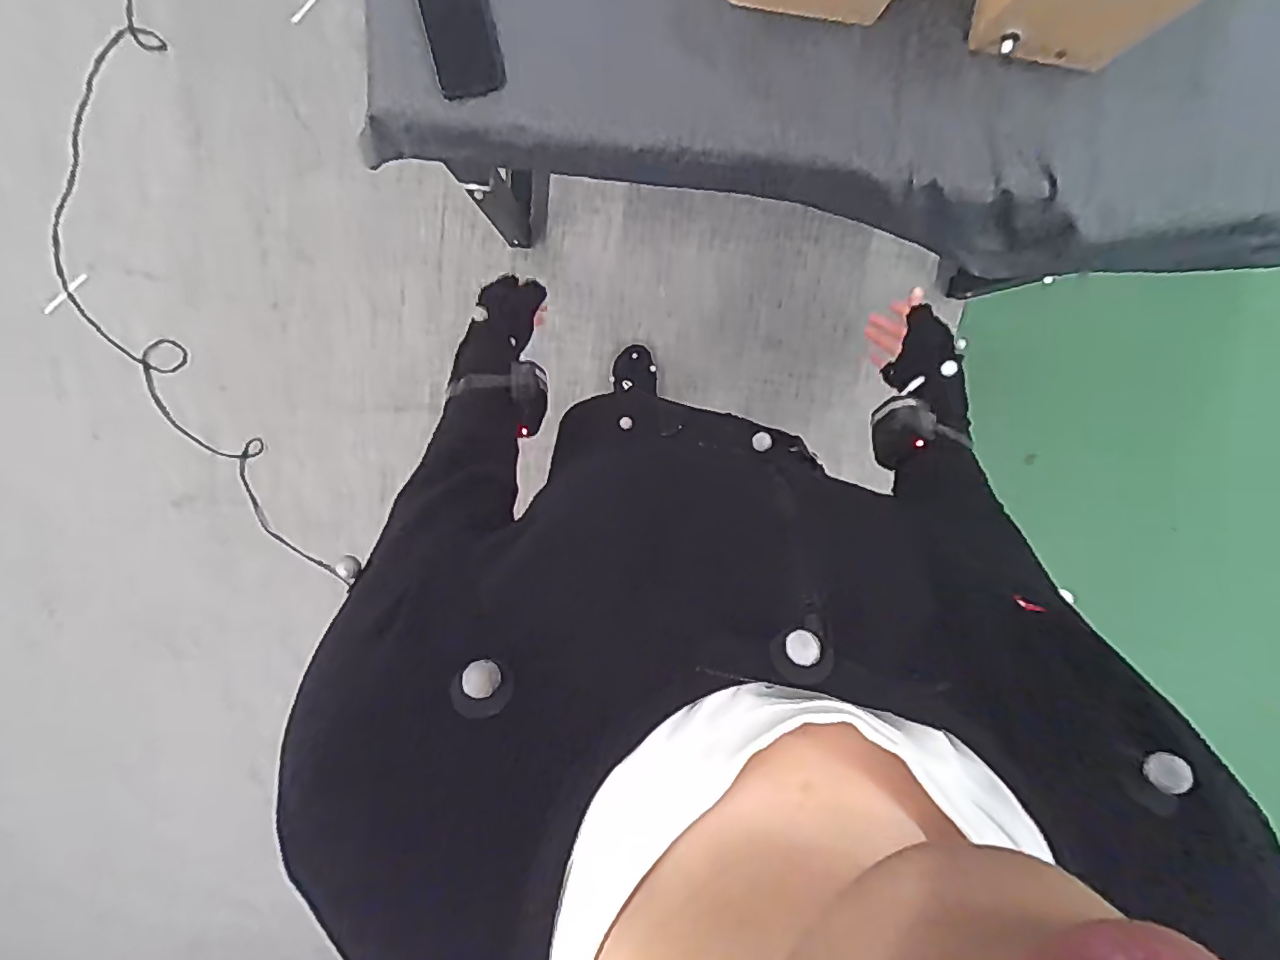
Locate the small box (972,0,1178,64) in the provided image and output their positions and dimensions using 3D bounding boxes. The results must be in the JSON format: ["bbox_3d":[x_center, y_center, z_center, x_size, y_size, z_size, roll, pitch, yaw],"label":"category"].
[{"bbox_3d":[0.483,-0.578,0.558,0.168,0.176,0.179,7,99,-5],"label":"small box"}]

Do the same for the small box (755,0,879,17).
[{"bbox_3d":[0.200,-0.611,0.538,0.179,0.176,0.168,5,100,-3],"label":"small box"}]
